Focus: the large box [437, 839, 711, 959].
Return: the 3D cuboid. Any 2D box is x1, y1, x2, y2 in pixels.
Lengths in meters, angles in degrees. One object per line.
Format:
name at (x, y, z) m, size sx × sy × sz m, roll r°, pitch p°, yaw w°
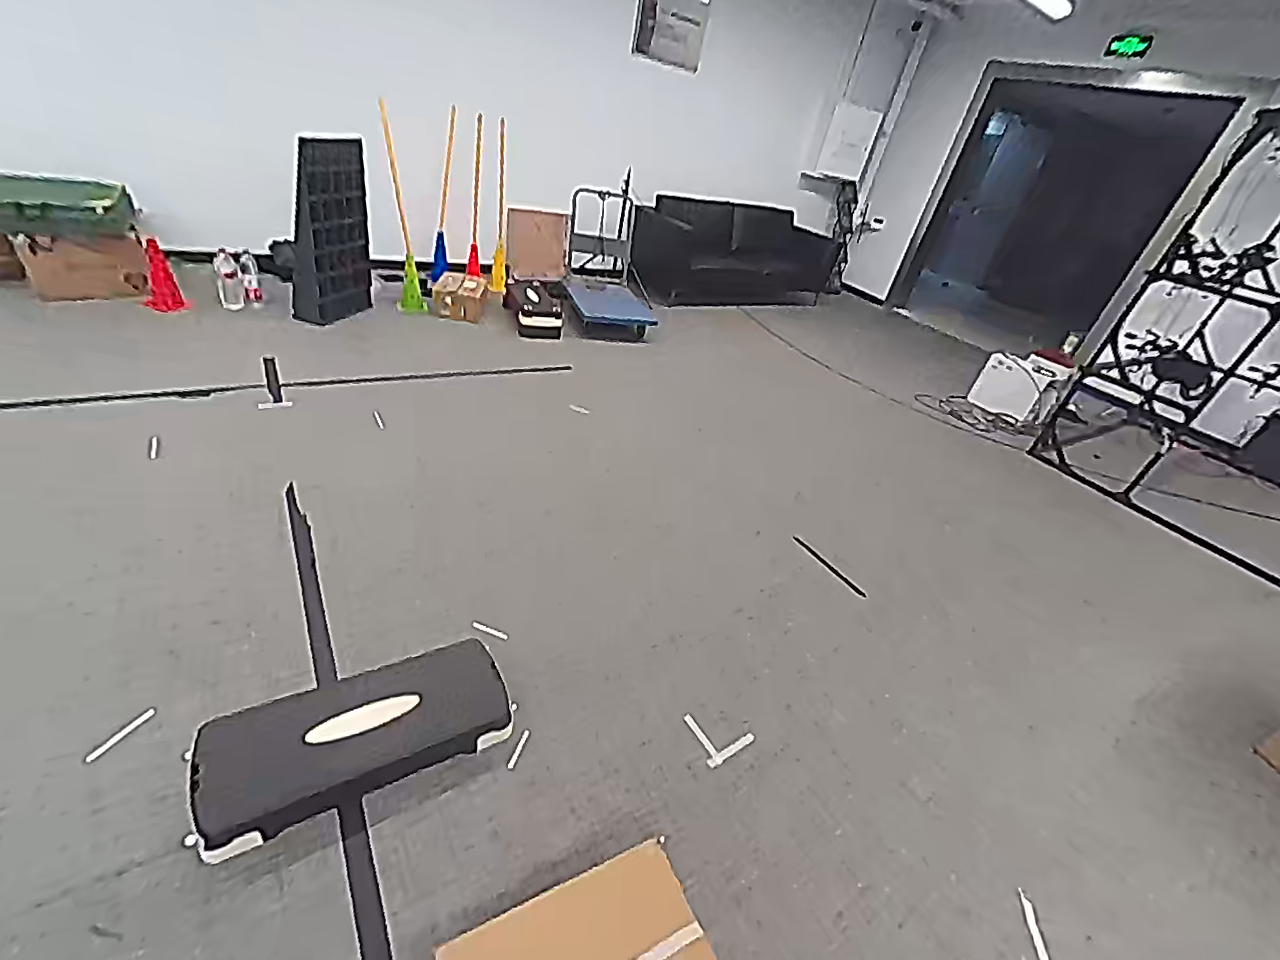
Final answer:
large box at (-0.105, 0.914, 0.907) m, size 0.408 × 0.320 × 0.320 m, roll -7°, pitch 38°, yaw -30°
